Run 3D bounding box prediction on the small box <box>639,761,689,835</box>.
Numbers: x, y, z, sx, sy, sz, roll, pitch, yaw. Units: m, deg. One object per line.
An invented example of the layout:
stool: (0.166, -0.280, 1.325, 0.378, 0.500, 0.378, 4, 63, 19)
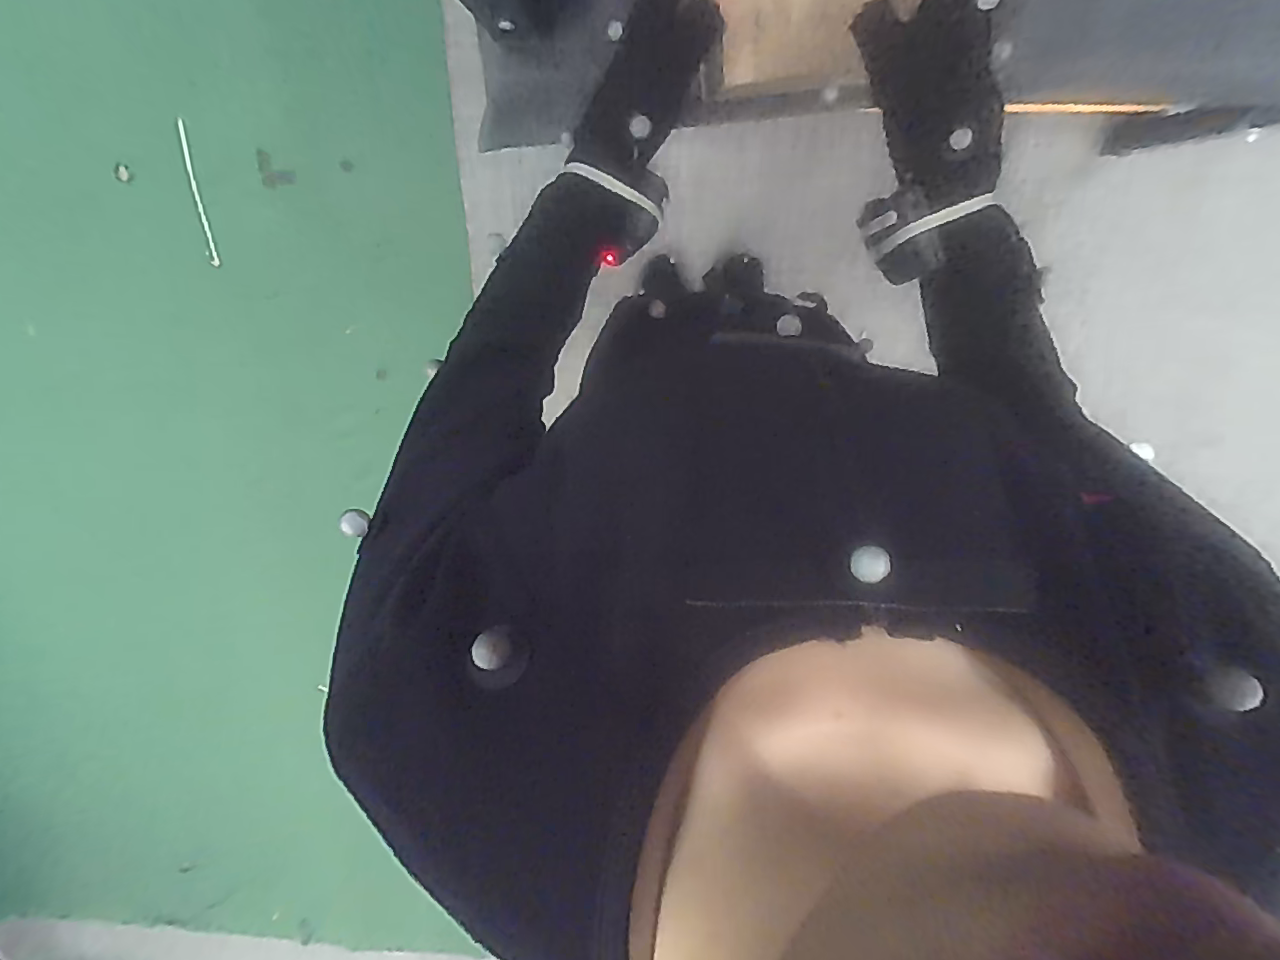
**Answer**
small box: (0.089, 1.145, 1.956, 0.168, 0.176, 0.179, -5, 113, 6)
